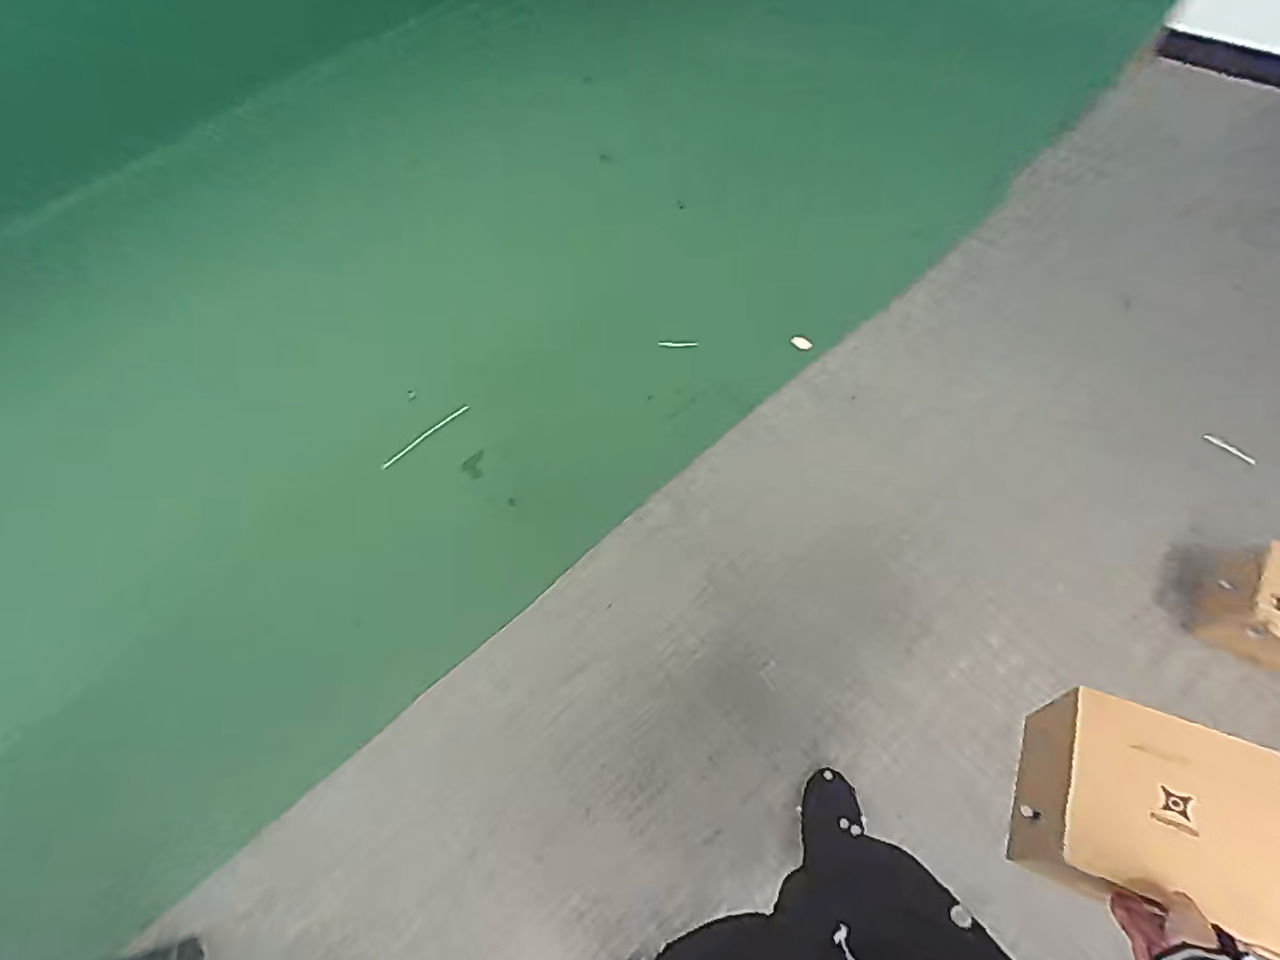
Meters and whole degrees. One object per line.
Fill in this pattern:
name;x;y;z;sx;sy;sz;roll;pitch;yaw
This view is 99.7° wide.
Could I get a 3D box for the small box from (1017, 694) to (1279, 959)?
small box;0.518;0.357;0.557;0.168;0.176;0.179;18;61;25
